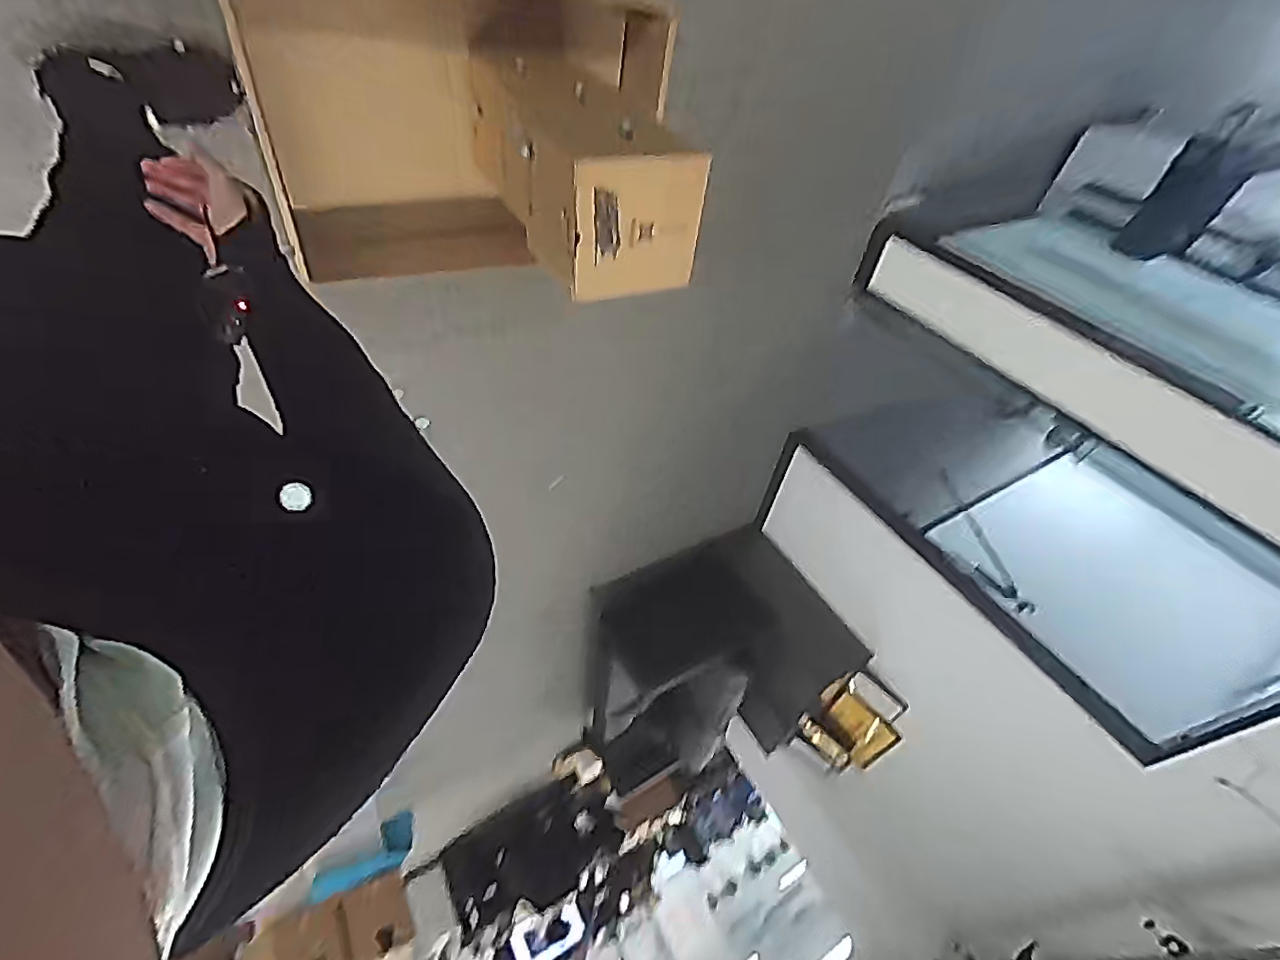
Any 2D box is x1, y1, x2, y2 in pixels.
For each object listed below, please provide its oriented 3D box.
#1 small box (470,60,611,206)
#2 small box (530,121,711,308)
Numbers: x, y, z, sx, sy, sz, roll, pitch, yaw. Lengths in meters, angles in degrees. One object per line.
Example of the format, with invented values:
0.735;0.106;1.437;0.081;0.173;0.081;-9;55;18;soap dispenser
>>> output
-0.169;-0.577;0.900;0.179;0.176;0.168;-16;141;-25;small box
-0.038;-0.348;0.703;0.179;0.176;0.168;-17;142;-23;small box
